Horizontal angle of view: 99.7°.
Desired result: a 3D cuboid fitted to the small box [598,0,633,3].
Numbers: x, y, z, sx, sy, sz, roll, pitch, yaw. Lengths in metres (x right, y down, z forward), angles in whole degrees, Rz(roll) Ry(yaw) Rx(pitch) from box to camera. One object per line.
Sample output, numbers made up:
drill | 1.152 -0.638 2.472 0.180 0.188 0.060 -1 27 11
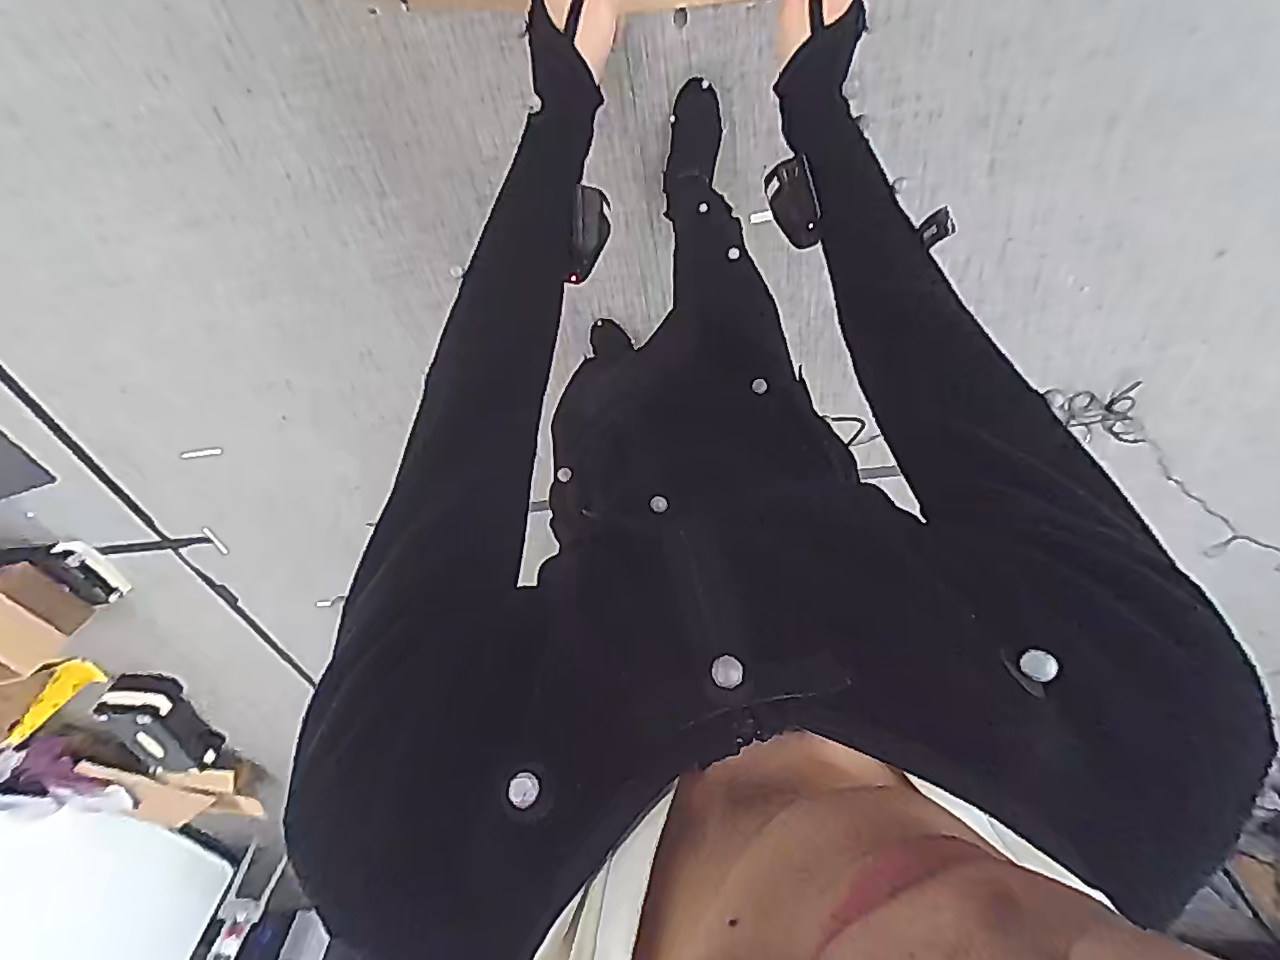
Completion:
small box | 0.038 -0.538 0.478 0.179 0.176 0.168 -6 132 -1
